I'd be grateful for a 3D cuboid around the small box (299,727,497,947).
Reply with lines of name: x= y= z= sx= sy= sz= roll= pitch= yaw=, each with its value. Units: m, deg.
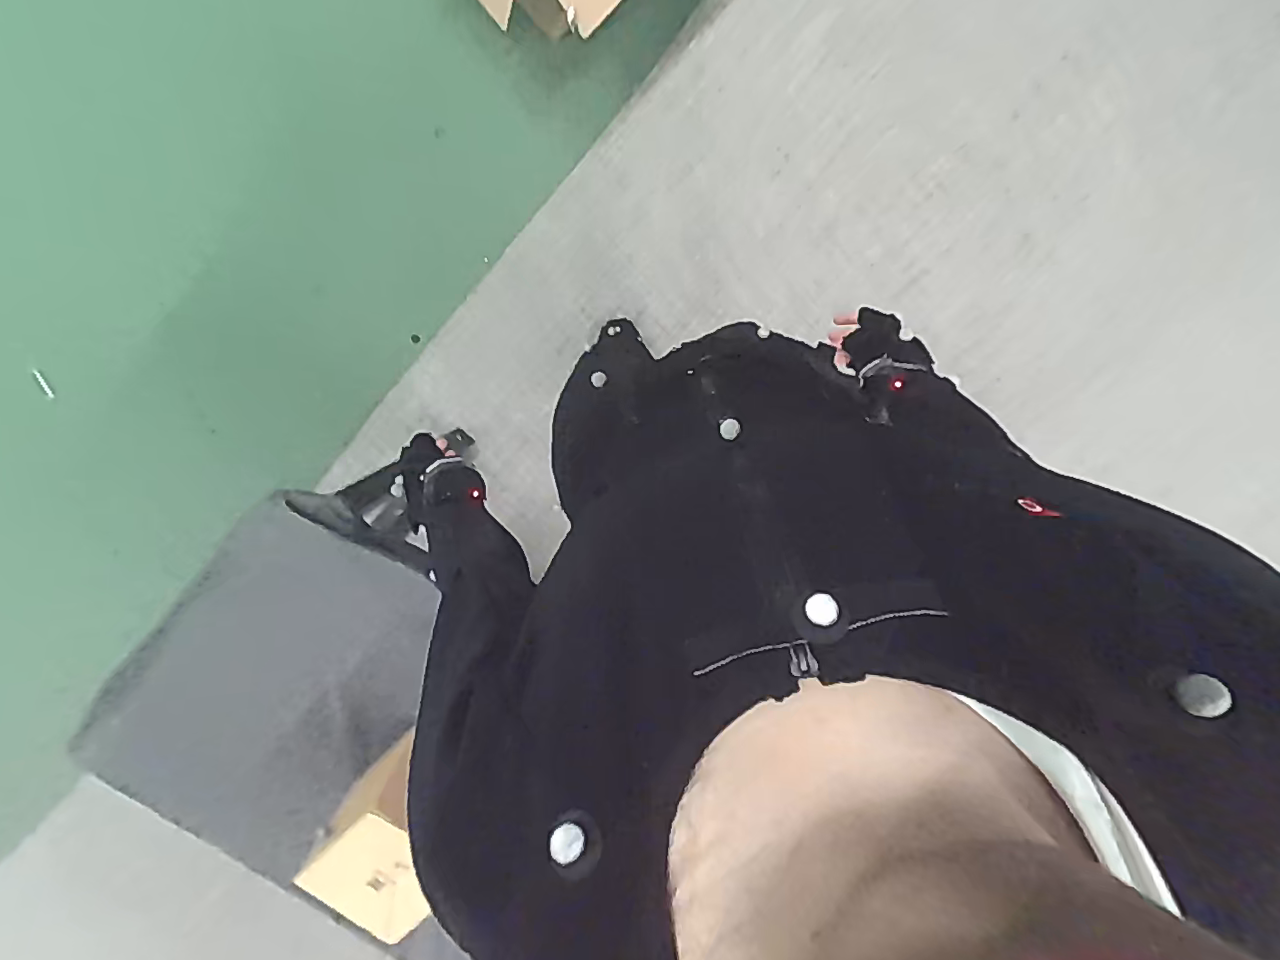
small box: x=-0.336 y=0.510 z=0.791 sx=0.168 sy=0.176 sz=0.179 roll=43 pitch=101 yaw=-11
